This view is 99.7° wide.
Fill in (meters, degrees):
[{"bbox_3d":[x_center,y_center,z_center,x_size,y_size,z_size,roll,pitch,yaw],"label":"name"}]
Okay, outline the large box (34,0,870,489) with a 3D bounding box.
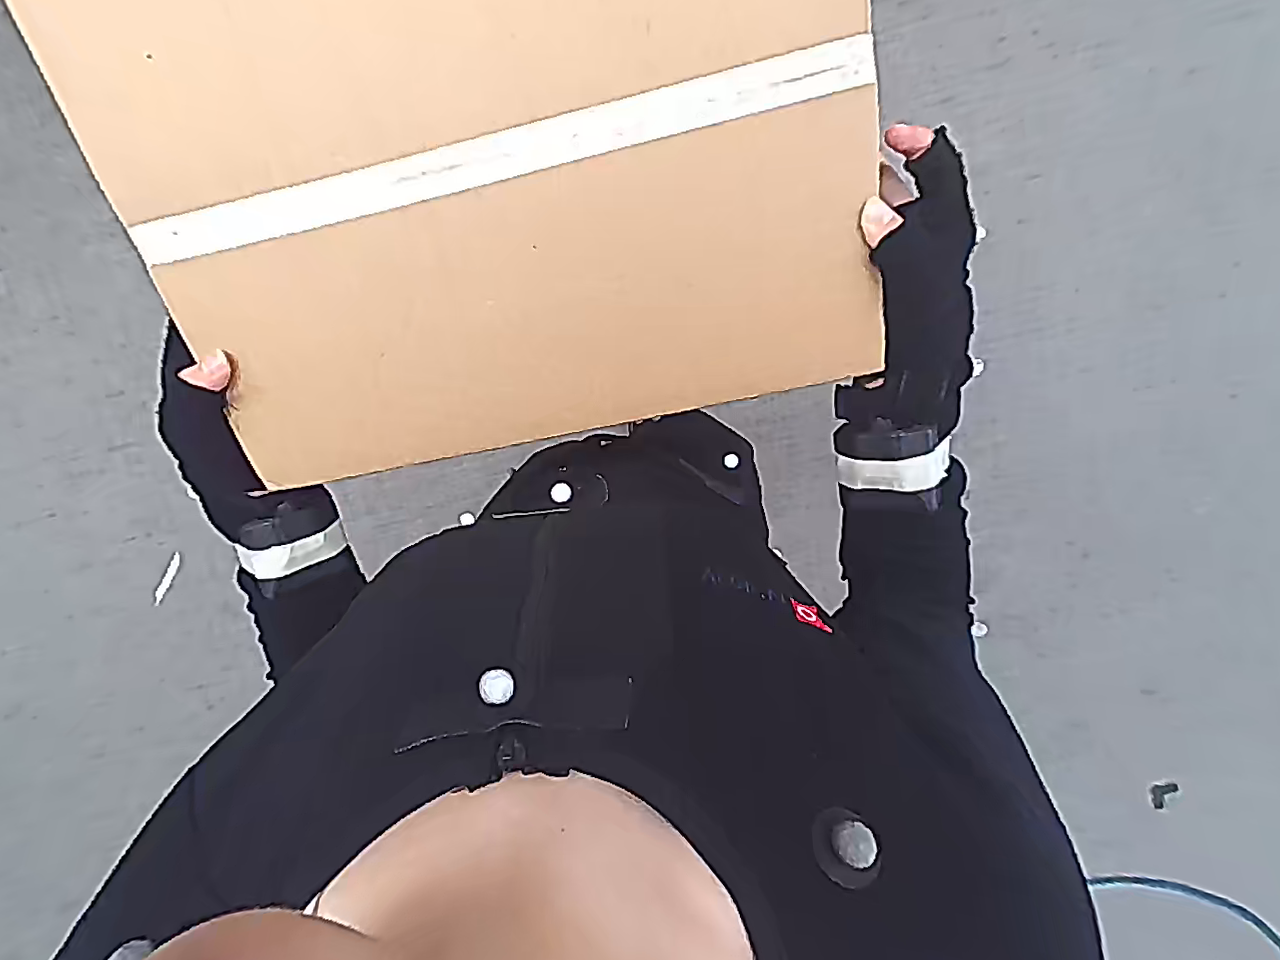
[{"bbox_3d":[-0.079,-0.229,0.434,0.408,0.320,0.320,-11,112,6],"label":"large box"}]
